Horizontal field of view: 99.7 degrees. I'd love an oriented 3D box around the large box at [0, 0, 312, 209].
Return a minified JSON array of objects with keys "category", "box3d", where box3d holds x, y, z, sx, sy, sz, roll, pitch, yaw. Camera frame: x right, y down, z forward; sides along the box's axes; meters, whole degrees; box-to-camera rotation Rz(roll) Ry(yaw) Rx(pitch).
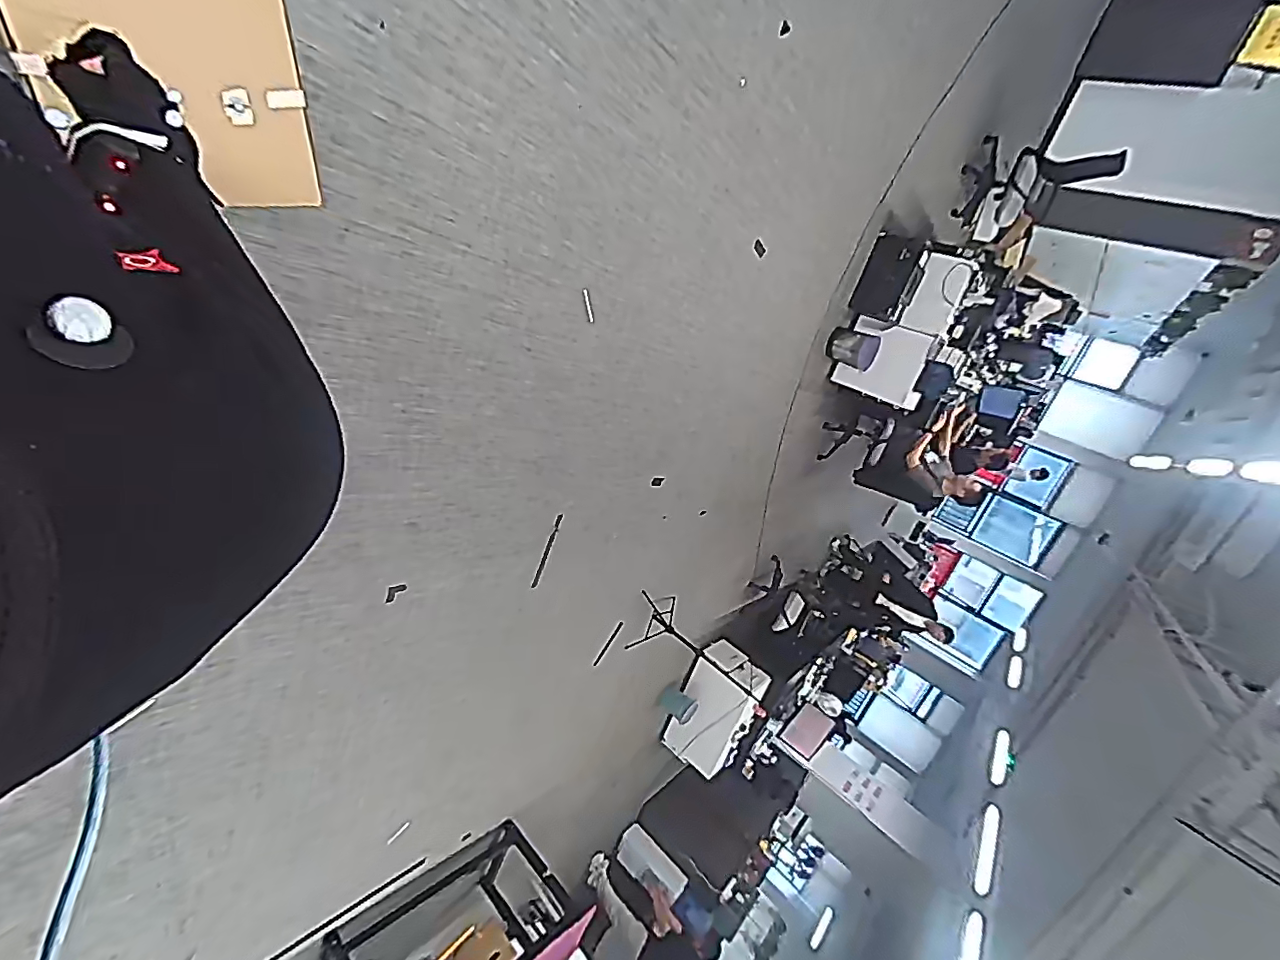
[{"category":"large box","box3d":[-0.785,-0.631,0.864,0.320,0.408,0.320,-24,133,-39]}]
